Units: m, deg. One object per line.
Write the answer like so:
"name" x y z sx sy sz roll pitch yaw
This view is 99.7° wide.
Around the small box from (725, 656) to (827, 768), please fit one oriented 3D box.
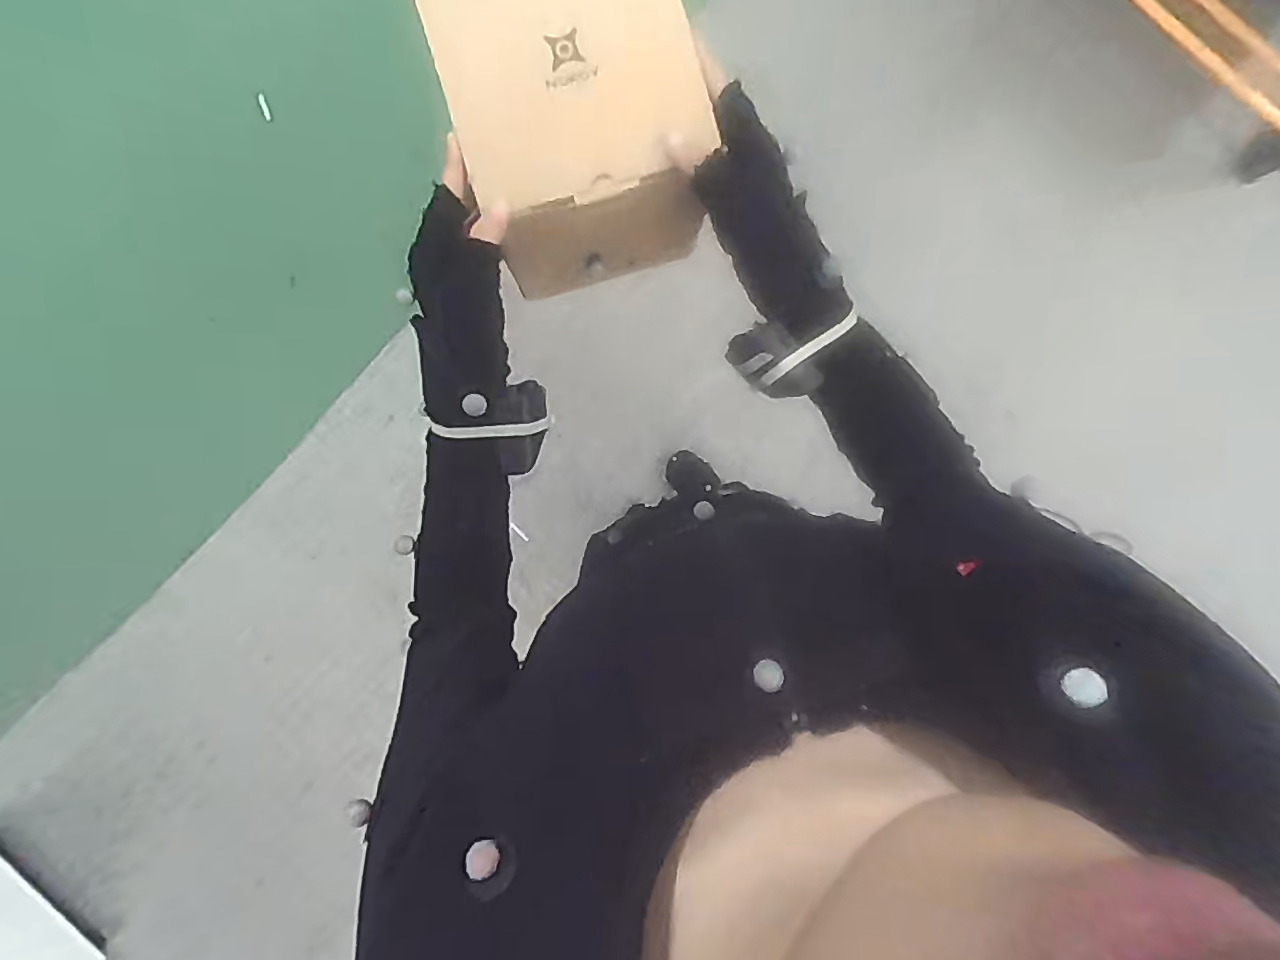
"small box" 0.341 0.588 1.399 0.168 0.176 0.179 45 88 0
